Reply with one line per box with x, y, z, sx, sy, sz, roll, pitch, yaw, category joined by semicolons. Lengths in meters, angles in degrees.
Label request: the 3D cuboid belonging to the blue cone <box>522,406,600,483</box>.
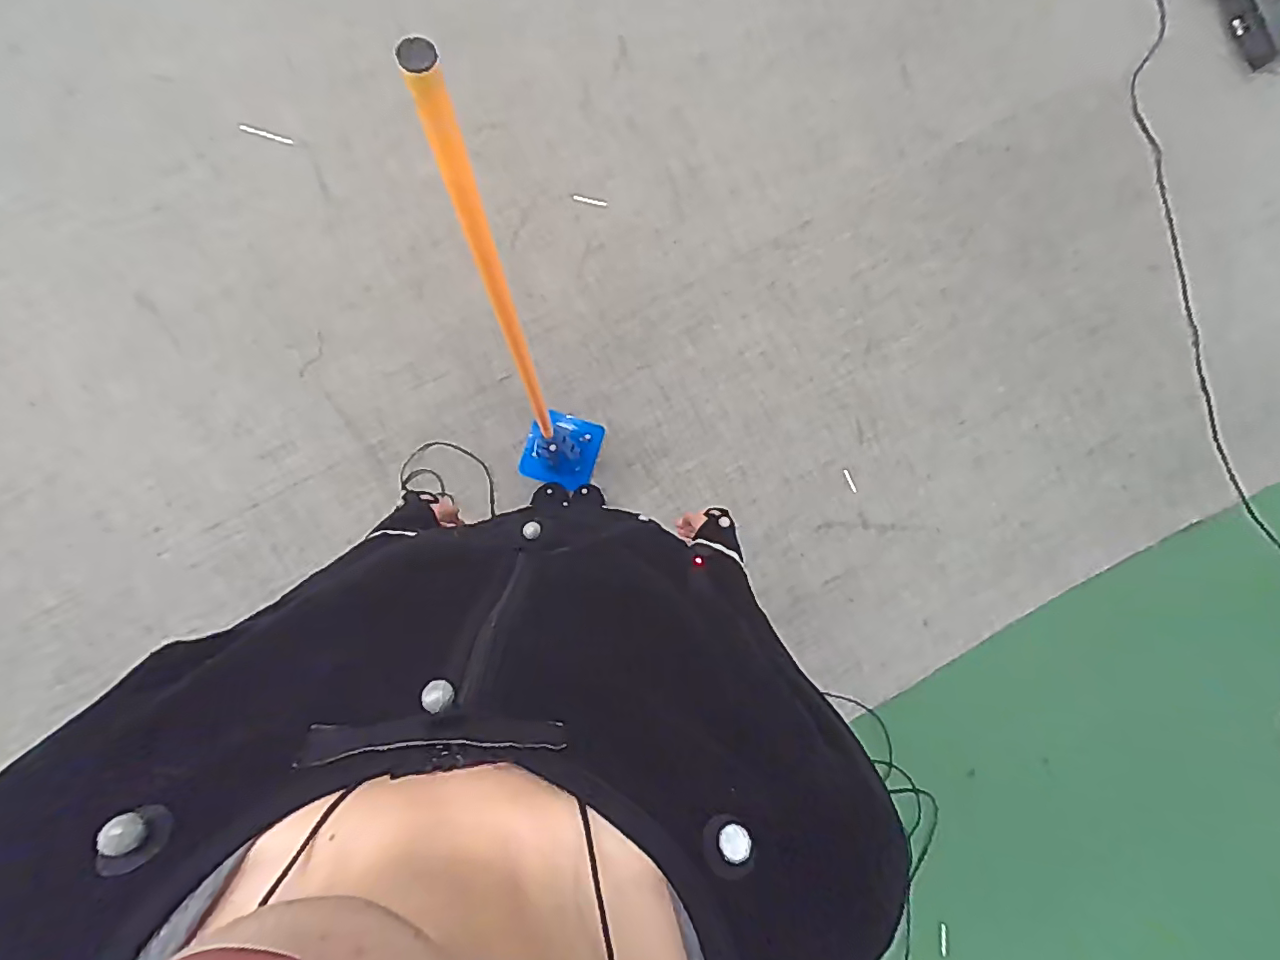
-0.206;-0.108;1.317;0.192;0.380;0.193;16;86;-3;blue cone
